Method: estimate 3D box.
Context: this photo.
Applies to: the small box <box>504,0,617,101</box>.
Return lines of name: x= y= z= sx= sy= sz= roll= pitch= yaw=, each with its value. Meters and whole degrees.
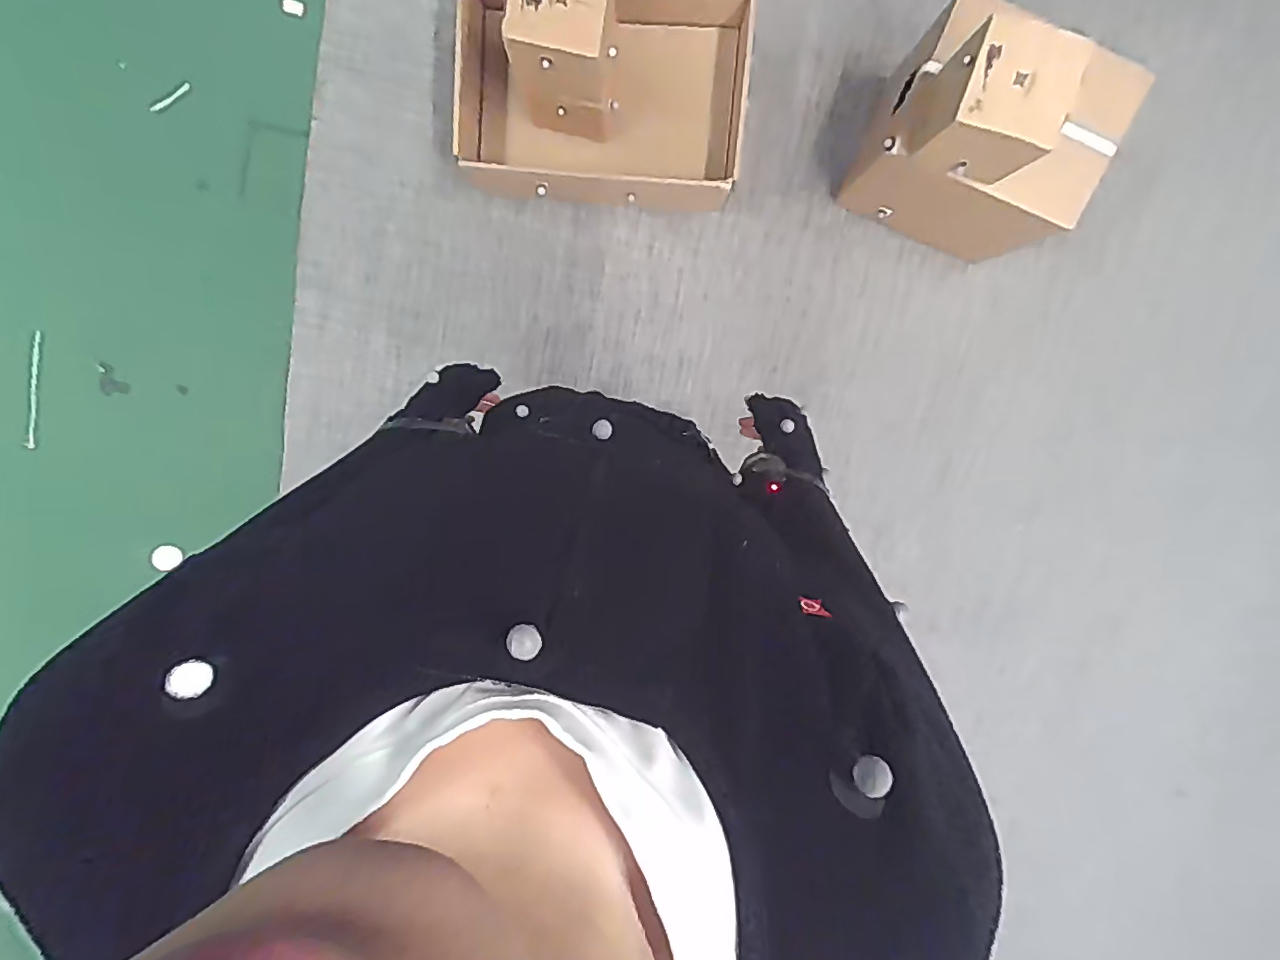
small box: x=-0.144 y=-0.864 z=1.032 sx=0.179 sy=0.176 sz=0.168 roll=10 pitch=100 yaw=-4

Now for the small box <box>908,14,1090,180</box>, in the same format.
small box: x=0.621 y=-0.659 z=0.958 sx=0.179 sy=0.176 sz=0.168 roll=16 pitch=101 yaw=-3

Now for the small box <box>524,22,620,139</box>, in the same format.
small box: x=-0.144 y=-0.890 z=1.194 sx=0.179 sy=0.176 sz=0.168 roll=11 pitch=100 yaw=-4
